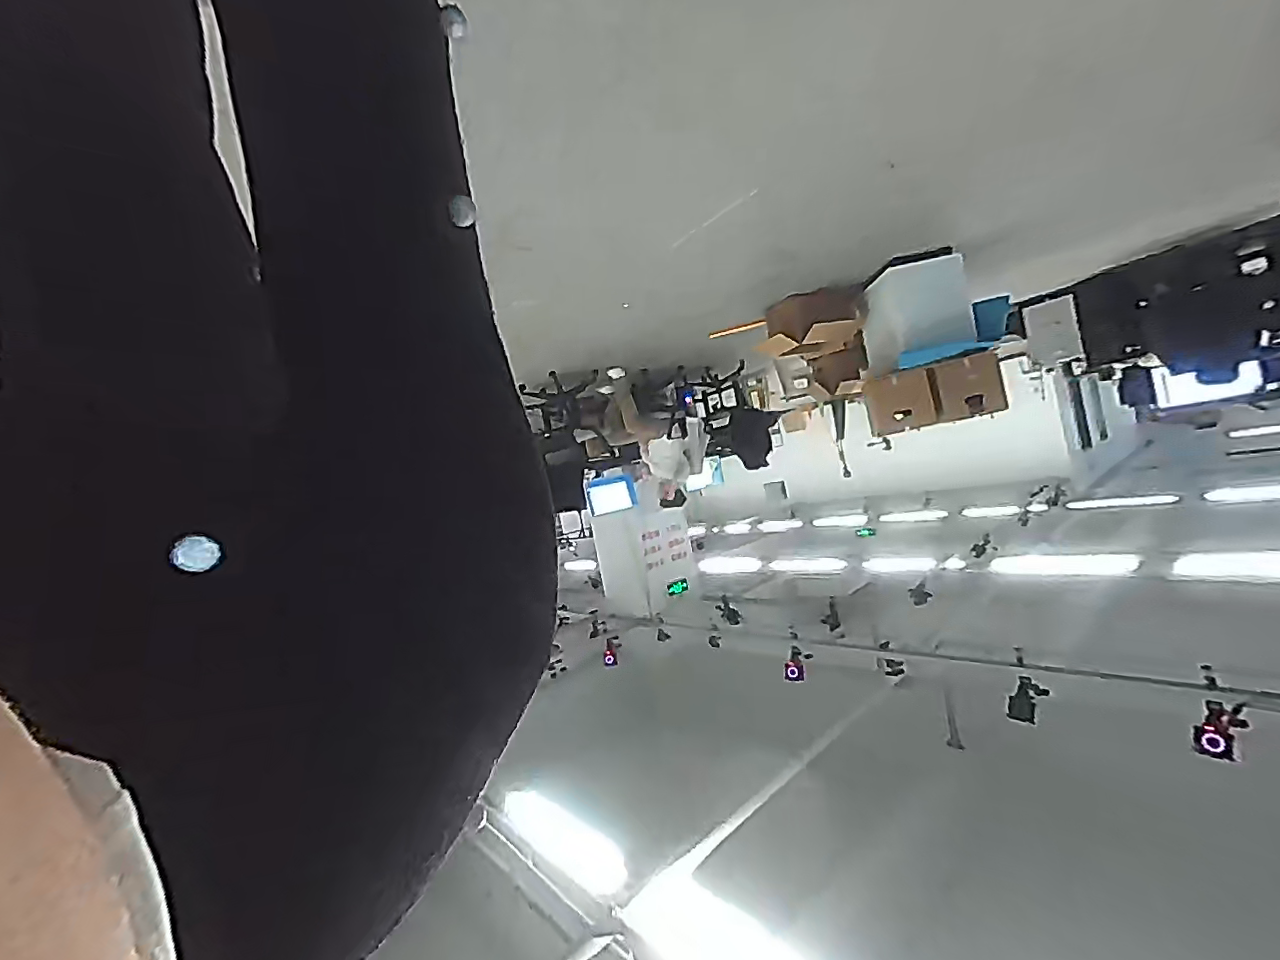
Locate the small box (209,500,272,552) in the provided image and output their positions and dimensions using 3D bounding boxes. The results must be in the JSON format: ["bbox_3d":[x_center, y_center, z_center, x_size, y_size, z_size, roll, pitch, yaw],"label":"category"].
[{"bbox_3d":[-1.556,0.177,2.101,0.168,0.176,0.179,-11,180,-43],"label":"small box"}]
